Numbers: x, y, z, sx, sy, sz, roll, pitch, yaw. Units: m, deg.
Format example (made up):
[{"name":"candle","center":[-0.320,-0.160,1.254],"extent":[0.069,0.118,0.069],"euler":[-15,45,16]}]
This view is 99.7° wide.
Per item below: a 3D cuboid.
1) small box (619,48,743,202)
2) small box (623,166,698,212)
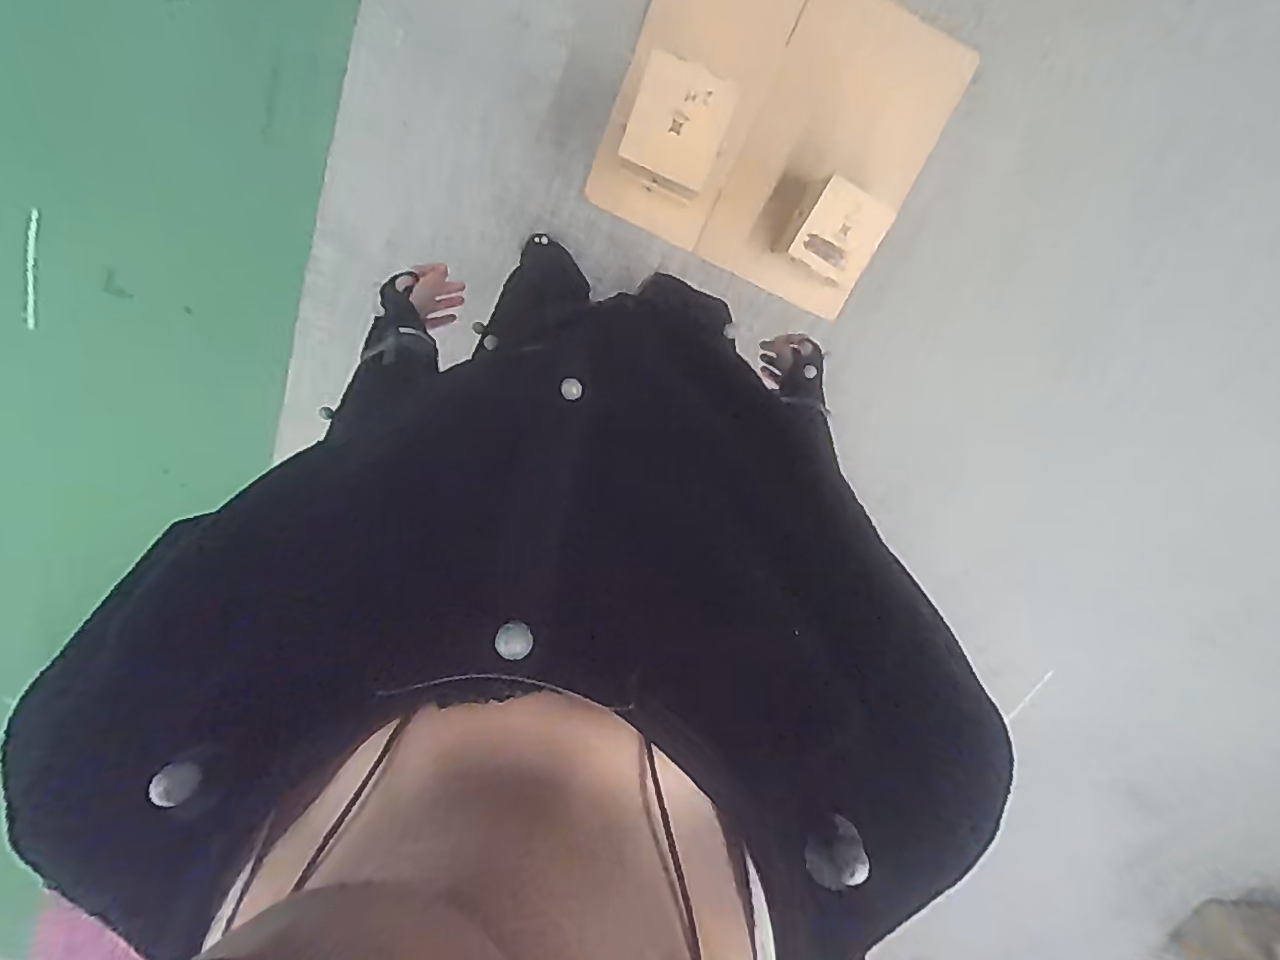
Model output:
[{"name":"small box","center":[0.072,-0.646,1.011],"extent":[0.168,0.176,0.179],"euler":[22,110,-8]},{"name":"small box","center":[0.074,-0.701,1.167],"extent":[0.168,0.176,0.179],"euler":[21,110,-8]}]
